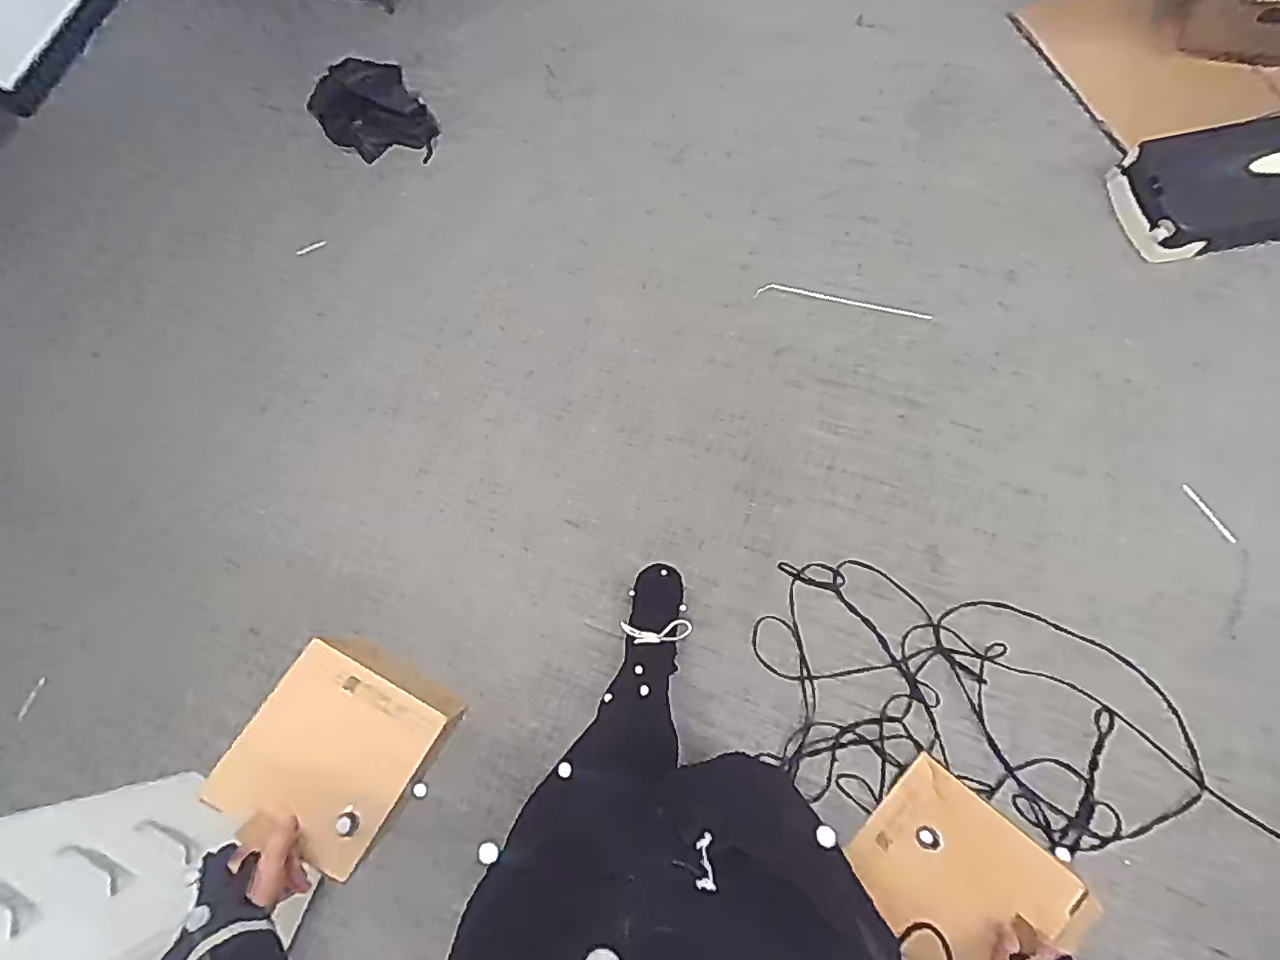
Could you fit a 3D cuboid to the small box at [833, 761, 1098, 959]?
[{"bbox_3d":[0.349,0.445,0.589,0.168,0.179,0.176,-47,35,-4],"label":"small box"}]
